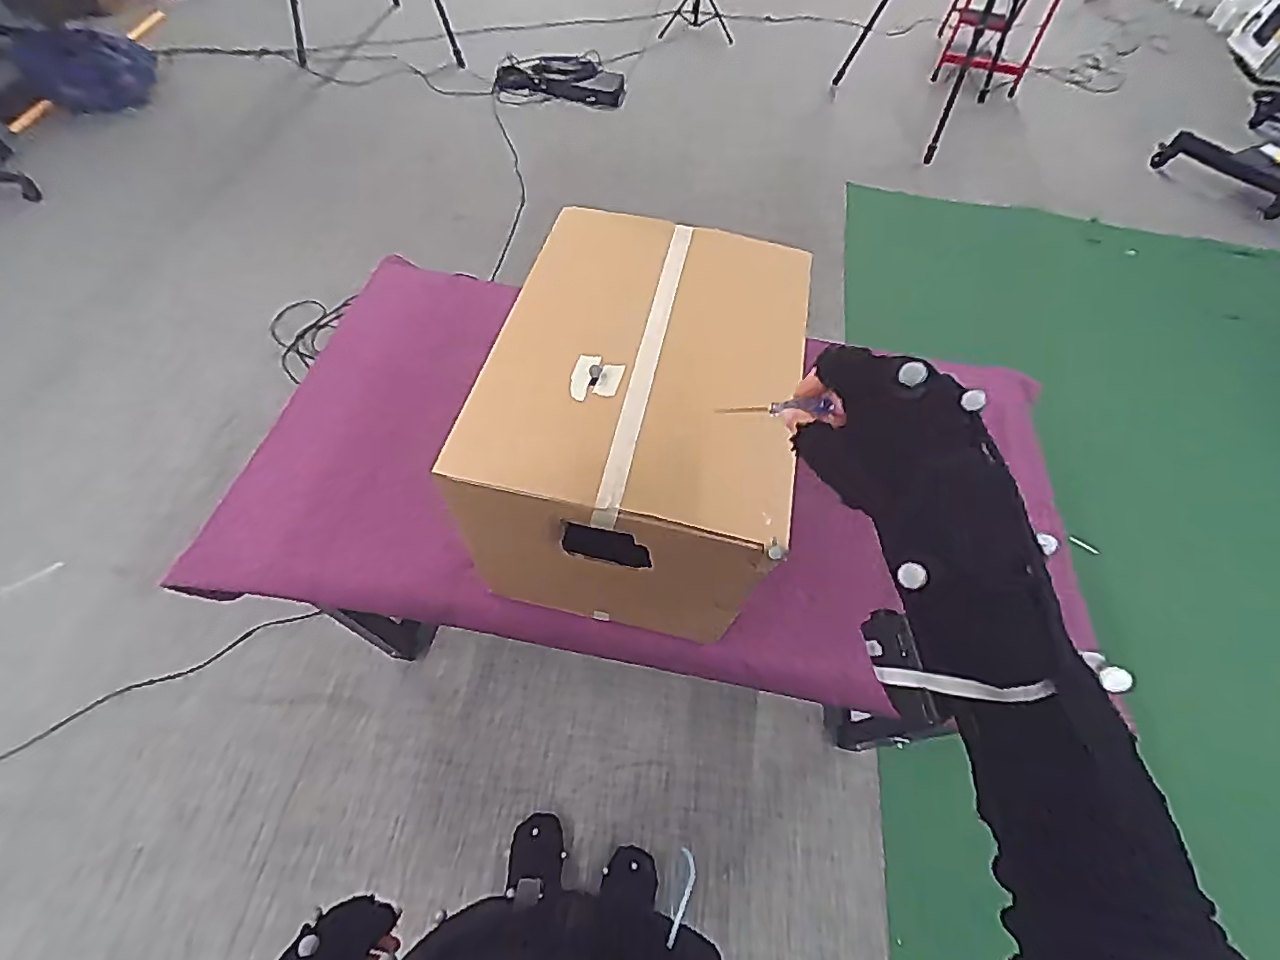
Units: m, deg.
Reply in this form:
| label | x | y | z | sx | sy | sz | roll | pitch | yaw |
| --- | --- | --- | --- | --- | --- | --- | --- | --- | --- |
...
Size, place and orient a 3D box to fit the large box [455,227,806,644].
| label | x | y | z | sx | sy | sz | roll | pitch | yaw |
| --- | --- | --- | --- | --- | --- | --- | --- | --- | --- |
| large box | 0.007 | -0.050 | 0.708 | 0.320 | 0.320 | 0.408 | 13 | 59 | 3 |
